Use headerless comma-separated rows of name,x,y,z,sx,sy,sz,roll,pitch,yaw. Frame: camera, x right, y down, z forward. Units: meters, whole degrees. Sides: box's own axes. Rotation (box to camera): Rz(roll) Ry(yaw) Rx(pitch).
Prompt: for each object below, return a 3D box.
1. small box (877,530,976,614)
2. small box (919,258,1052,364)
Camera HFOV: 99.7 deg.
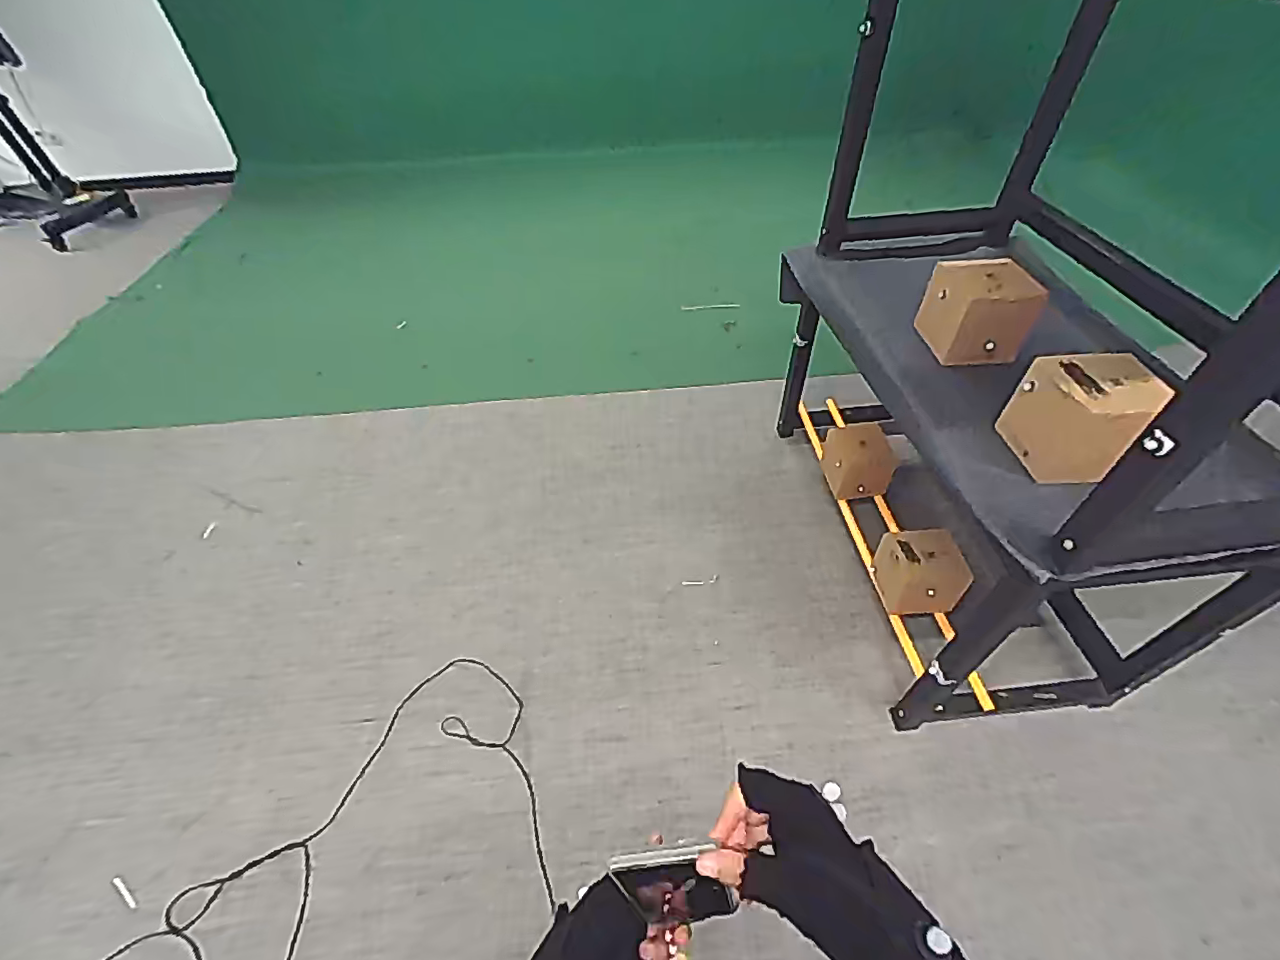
small box,0.770,0.255,1.483,0.179,0.176,0.168,-3,47,0
small box,0.767,-0.382,1.226,0.168,0.176,0.179,-3,47,0
